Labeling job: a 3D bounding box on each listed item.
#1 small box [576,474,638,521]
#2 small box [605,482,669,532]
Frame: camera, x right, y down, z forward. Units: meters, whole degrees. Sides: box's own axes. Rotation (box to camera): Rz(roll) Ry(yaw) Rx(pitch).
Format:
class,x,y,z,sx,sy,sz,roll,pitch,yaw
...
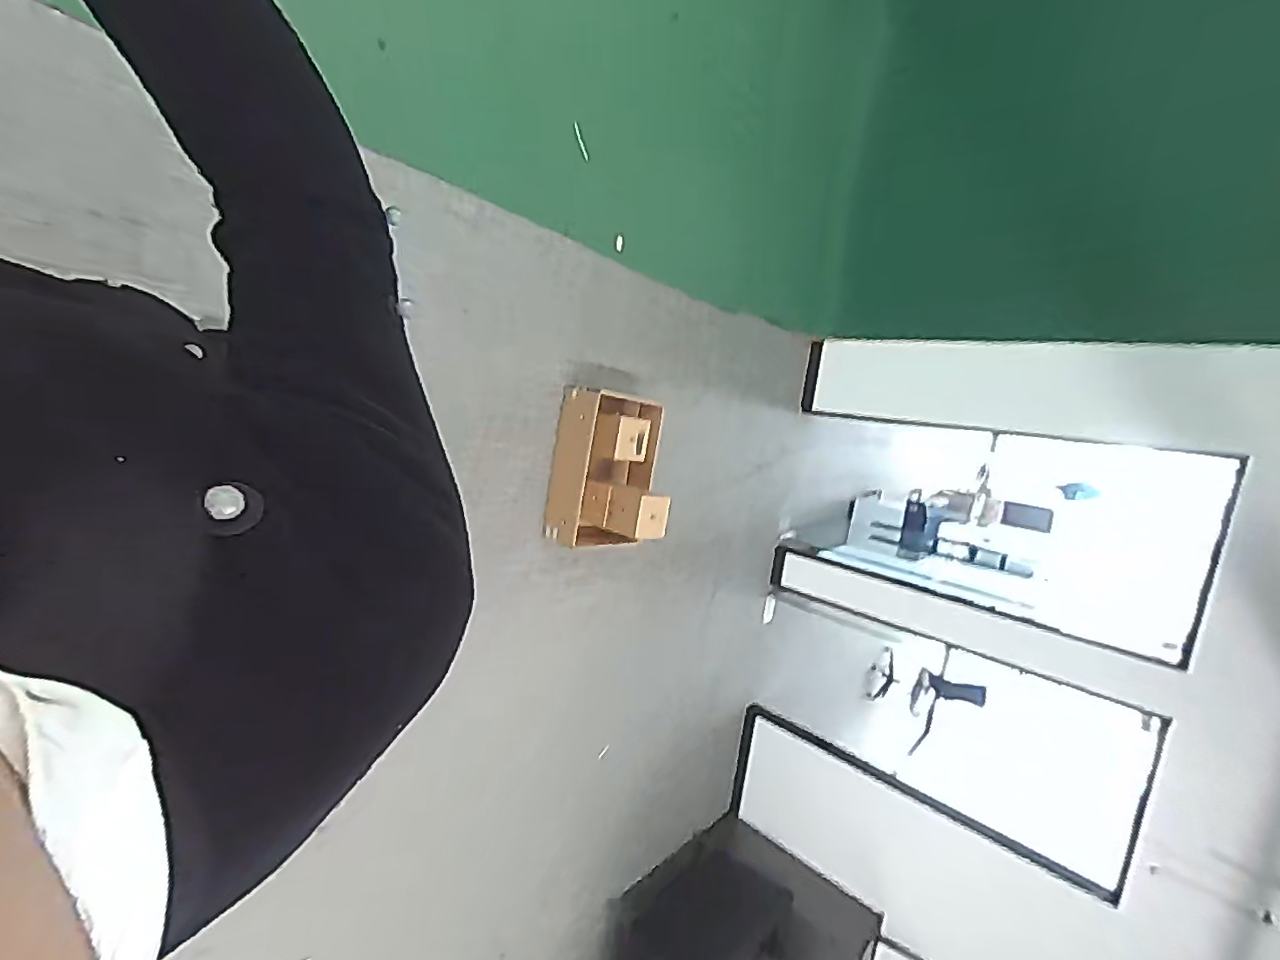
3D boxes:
class,x,y,z,sx,sy,sz,roll,pitch,yaw
small box,-0.138,0.073,2.220,0.179,0.176,0.168,5,97,-49
small box,-0.015,0.106,2.114,0.179,0.176,0.168,5,98,-49
